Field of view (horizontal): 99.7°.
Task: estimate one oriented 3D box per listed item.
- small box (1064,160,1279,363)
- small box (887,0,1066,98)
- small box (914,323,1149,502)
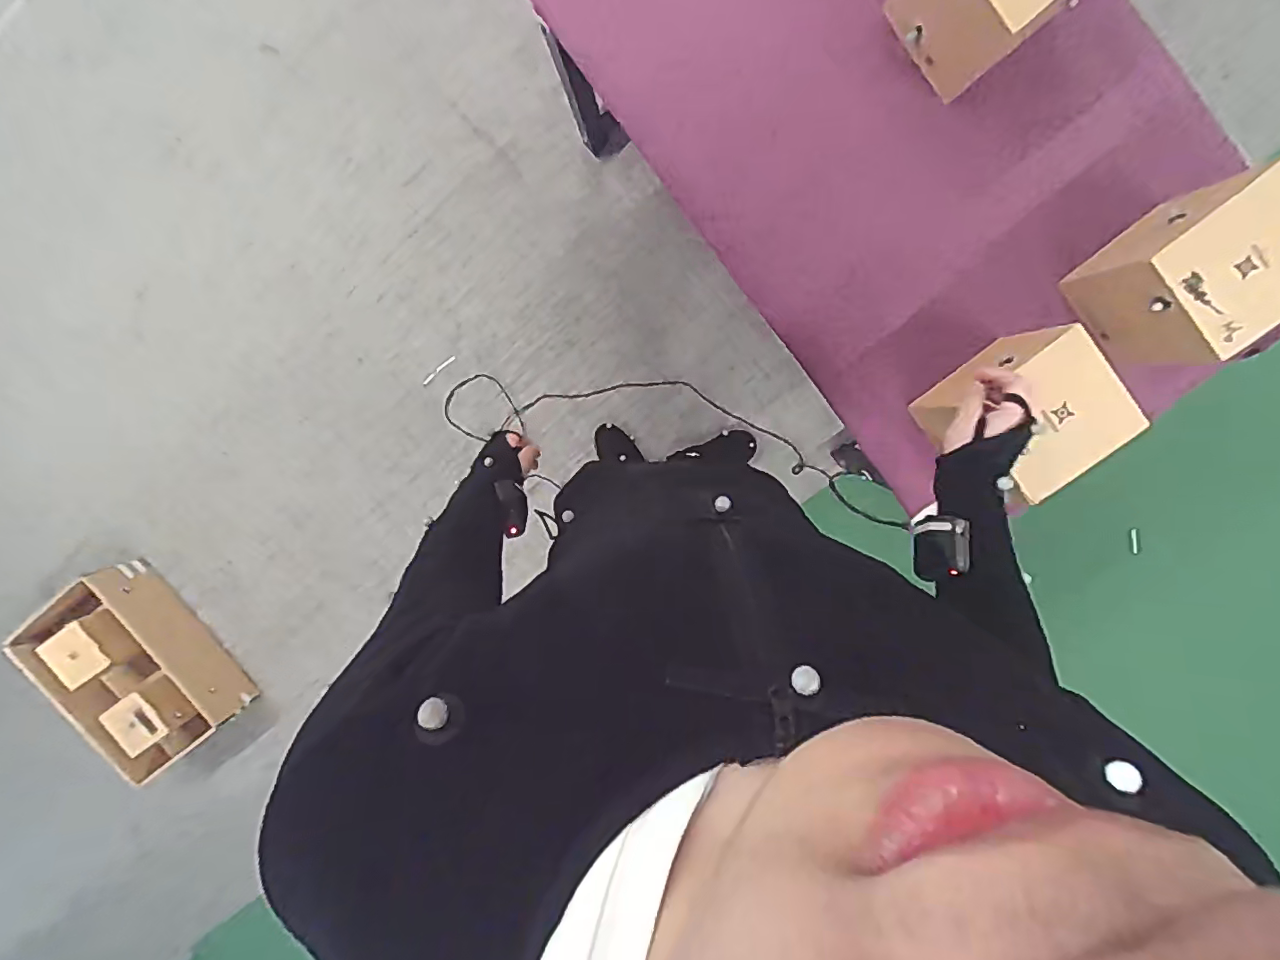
[{"bbox_3d":[0.743,-0.277,0.731,0.179,0.176,0.168,-39,94,8],"label":"small box"},{"bbox_3d":[0.456,-0.650,0.687,0.179,0.176,0.168,-38,95,9],"label":"small box"},{"bbox_3d":[0.537,-0.096,0.770,0.179,0.176,0.168,-37,94,8],"label":"small box"}]
